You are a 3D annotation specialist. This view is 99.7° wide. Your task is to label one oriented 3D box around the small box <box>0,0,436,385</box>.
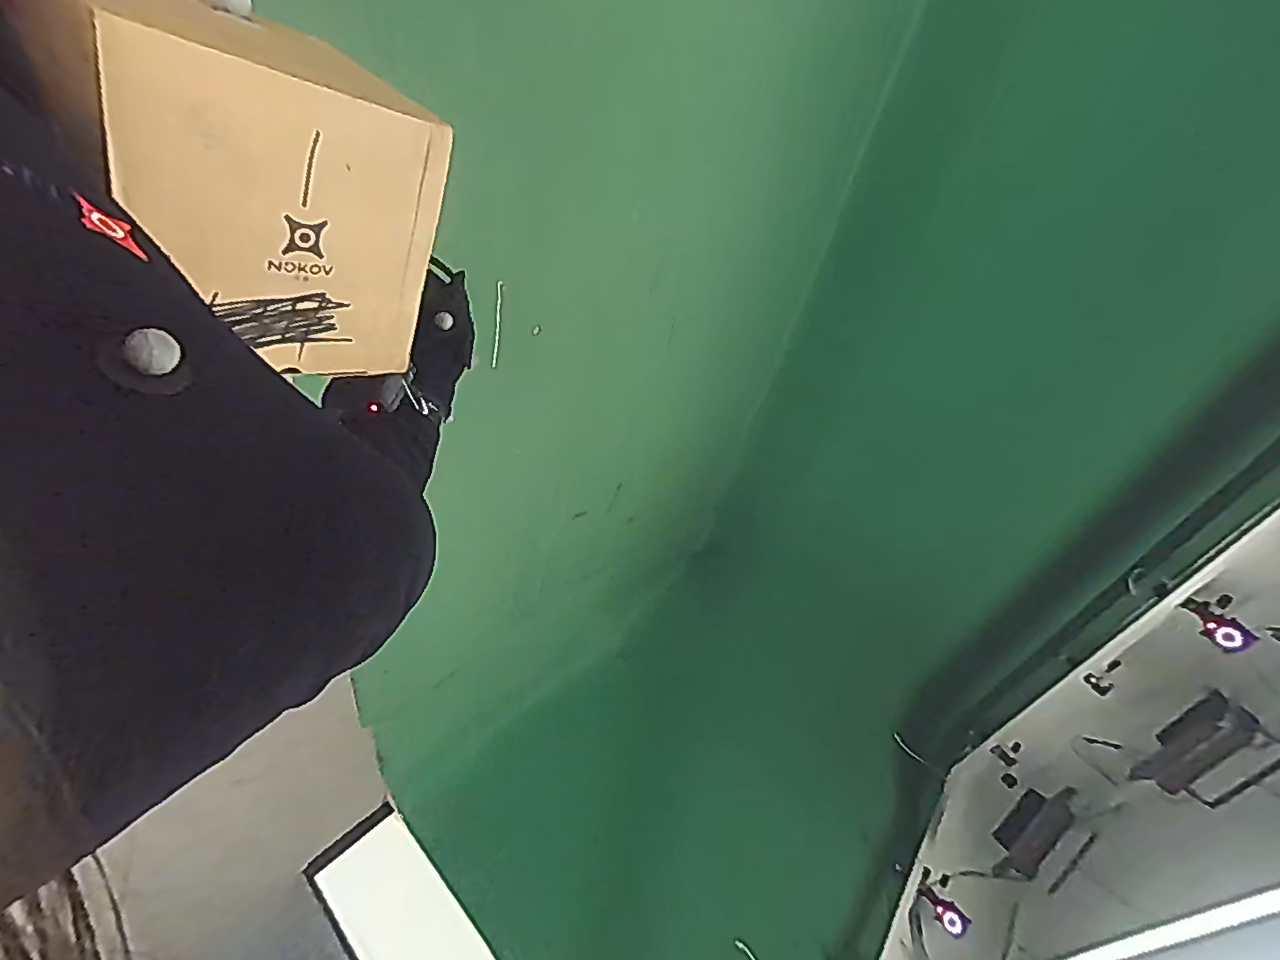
[{"bbox_3d":[-0.266,-0.182,0.347,0.168,0.176,0.179,-19,144,-53],"label":"small box"}]
